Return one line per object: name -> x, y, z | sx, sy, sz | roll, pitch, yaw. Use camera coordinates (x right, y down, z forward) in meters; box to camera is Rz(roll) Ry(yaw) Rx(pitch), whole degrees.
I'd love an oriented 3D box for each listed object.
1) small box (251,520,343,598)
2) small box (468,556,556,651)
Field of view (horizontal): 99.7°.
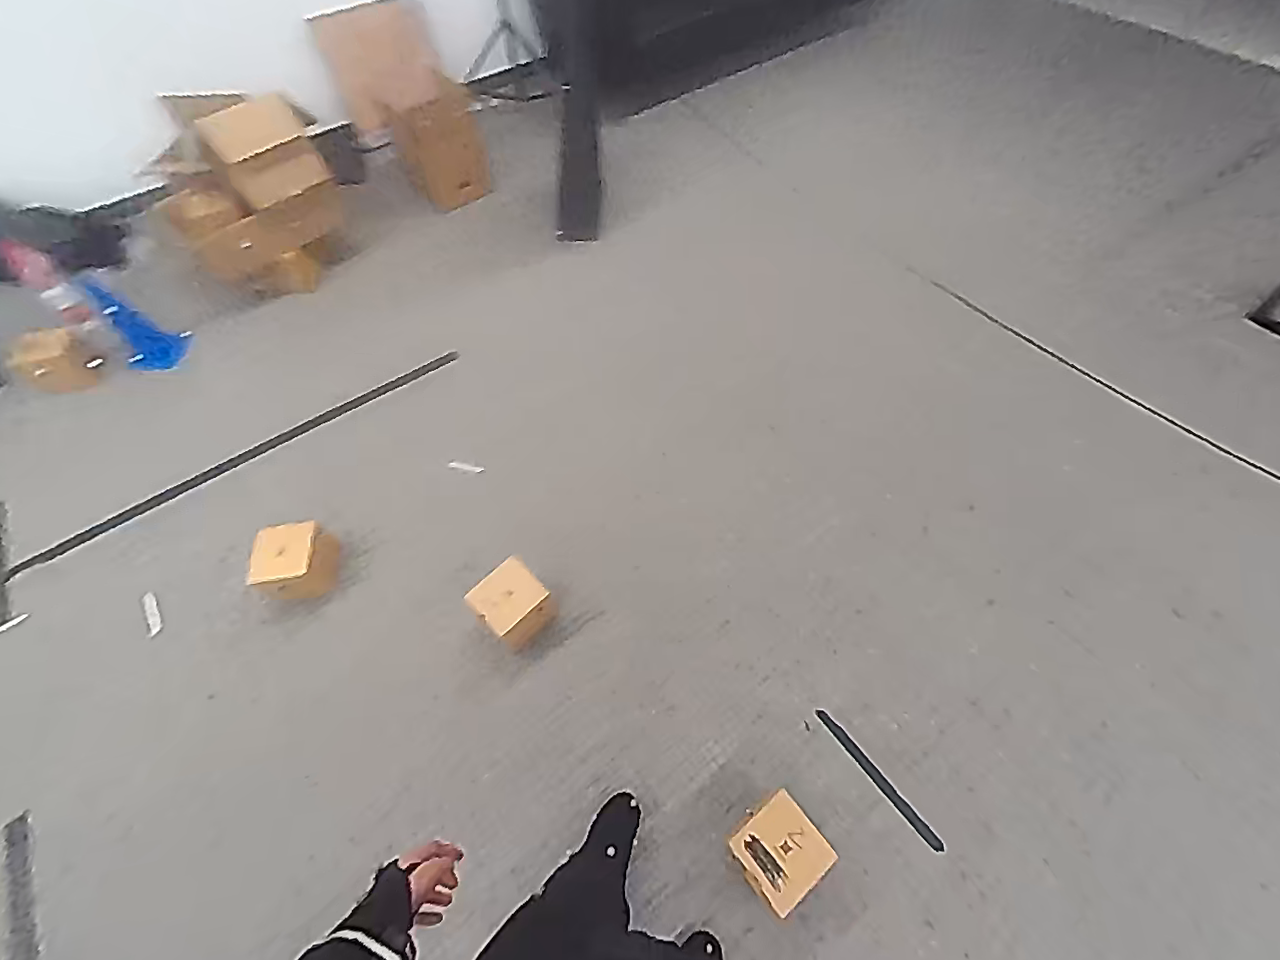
small box -> -1.027, 0.245, 1.636 | 0.168, 0.176, 0.179 | -9, 58, -4
small box -> -0.357, 0.356, 1.547 | 0.168, 0.176, 0.179 | 40, 67, 22
